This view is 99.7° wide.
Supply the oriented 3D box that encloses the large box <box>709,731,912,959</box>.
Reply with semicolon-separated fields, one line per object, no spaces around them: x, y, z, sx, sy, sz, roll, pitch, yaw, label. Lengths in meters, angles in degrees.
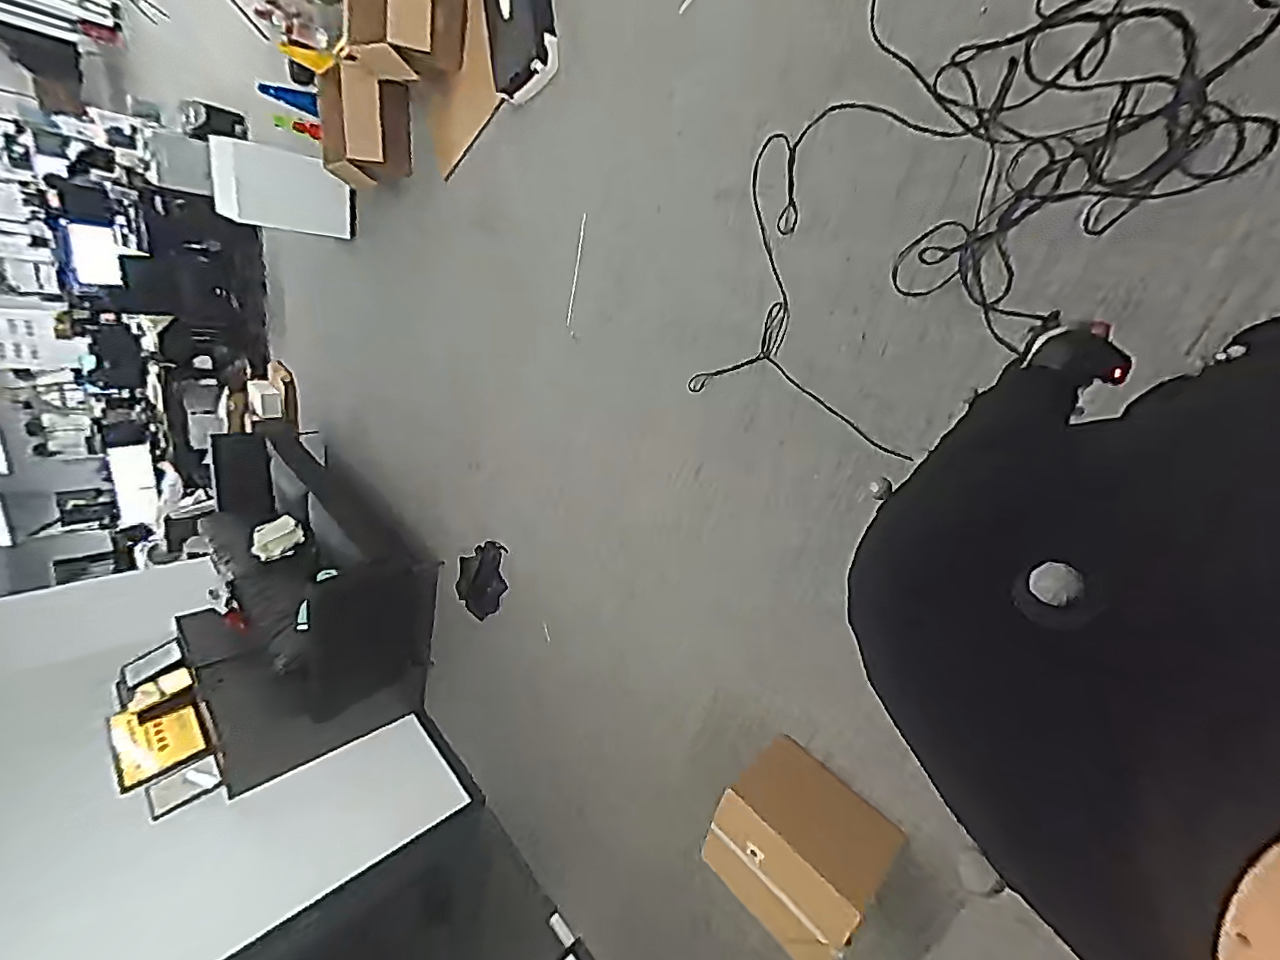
0.476;1.022;1.538;0.408;0.320;0.320;32;120;37;large box
